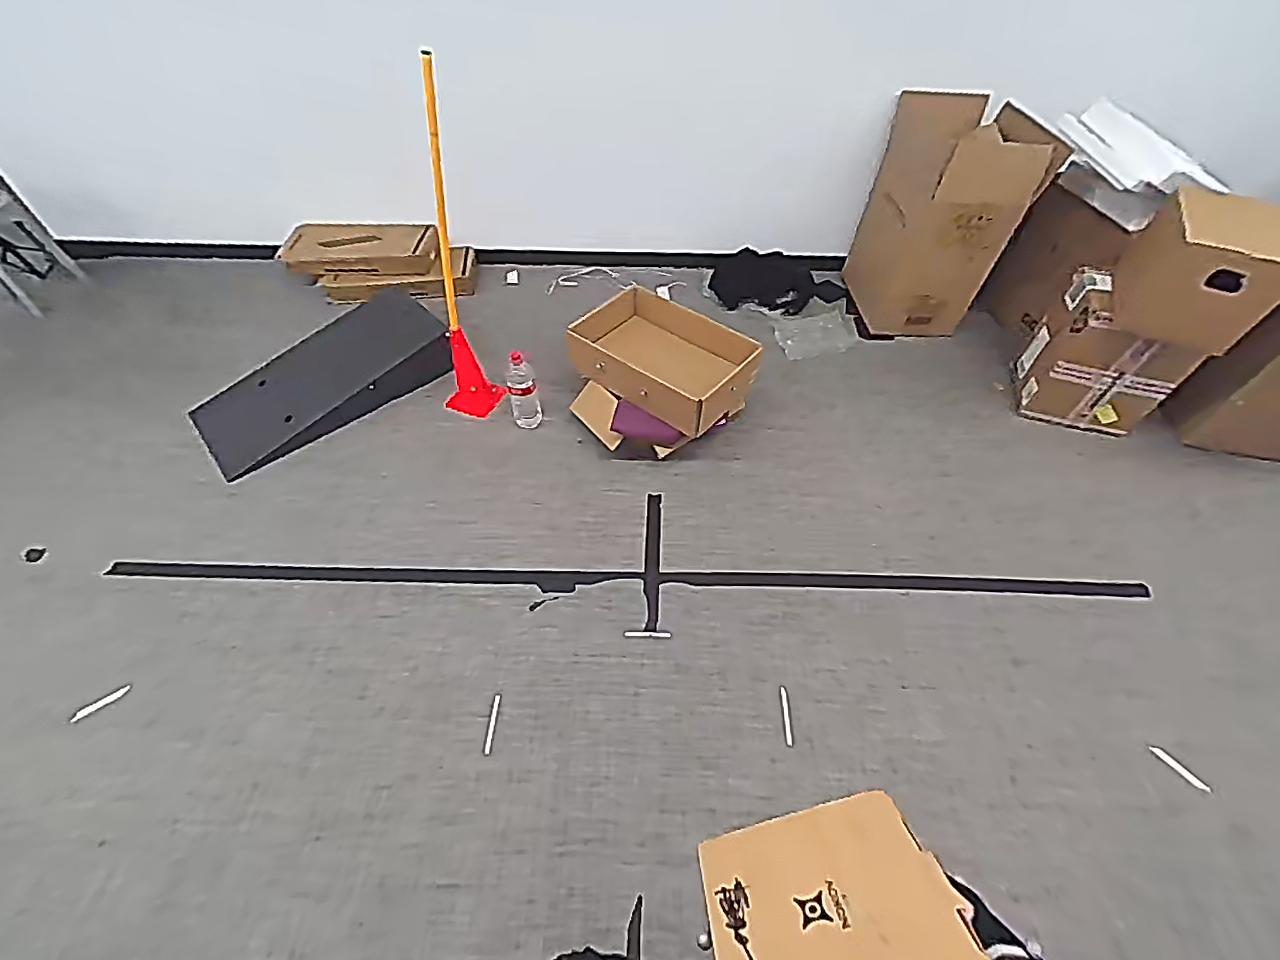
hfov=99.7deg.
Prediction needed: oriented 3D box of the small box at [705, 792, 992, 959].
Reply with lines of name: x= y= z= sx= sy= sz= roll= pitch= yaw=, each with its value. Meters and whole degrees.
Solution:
small box: x=0.166 y=0.397 z=0.426 sx=0.179 sy=0.176 sz=0.168 roll=-18 pitch=12 yaw=2
